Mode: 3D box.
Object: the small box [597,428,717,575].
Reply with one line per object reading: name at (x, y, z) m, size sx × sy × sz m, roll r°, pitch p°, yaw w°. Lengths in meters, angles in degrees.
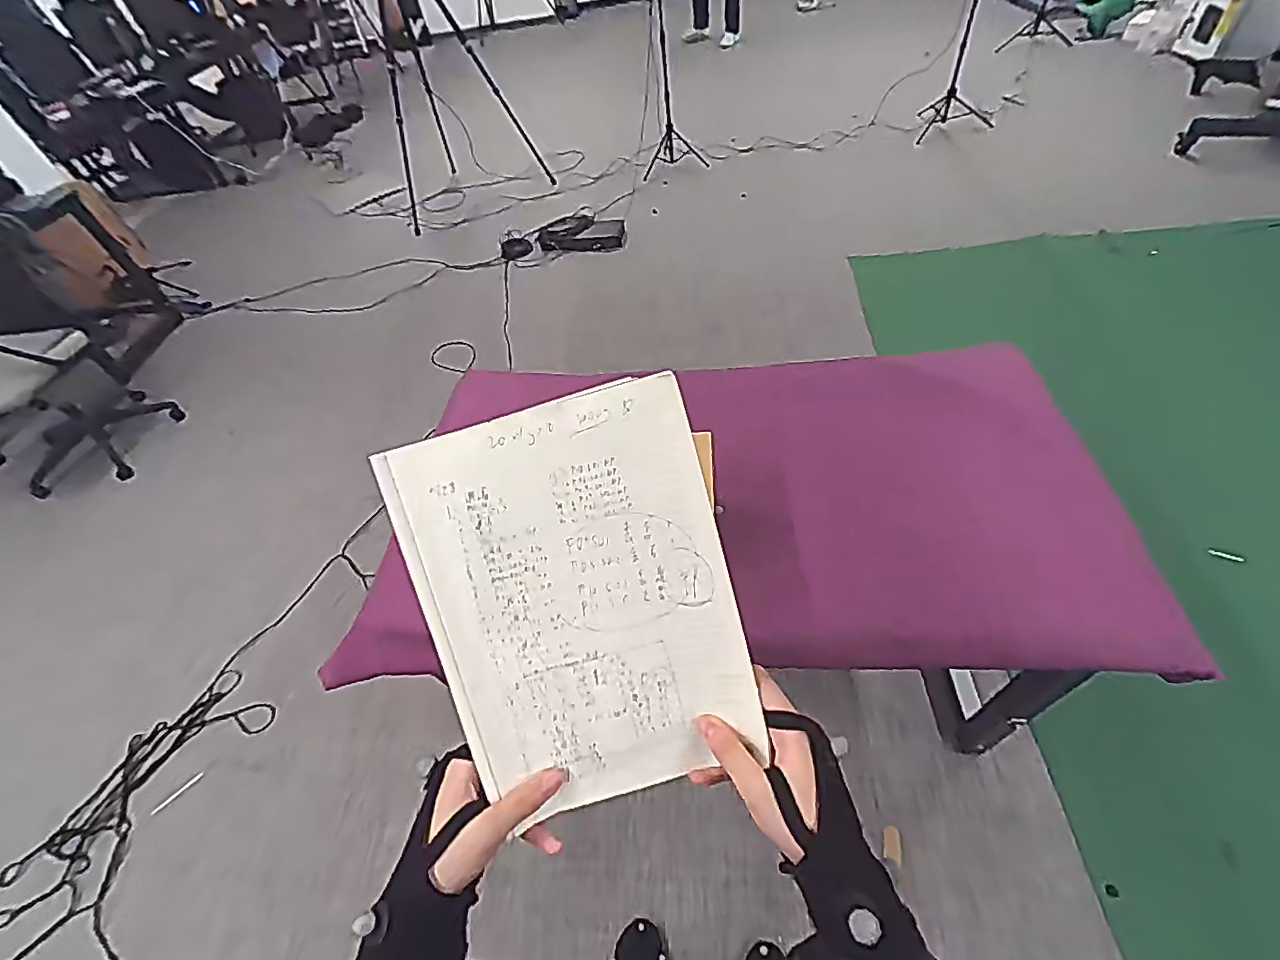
small box at (0.036, 0.040, 0.862) m, size 0.168 × 0.176 × 0.179 m, roll -2°, pitch 51°, yaw 8°
